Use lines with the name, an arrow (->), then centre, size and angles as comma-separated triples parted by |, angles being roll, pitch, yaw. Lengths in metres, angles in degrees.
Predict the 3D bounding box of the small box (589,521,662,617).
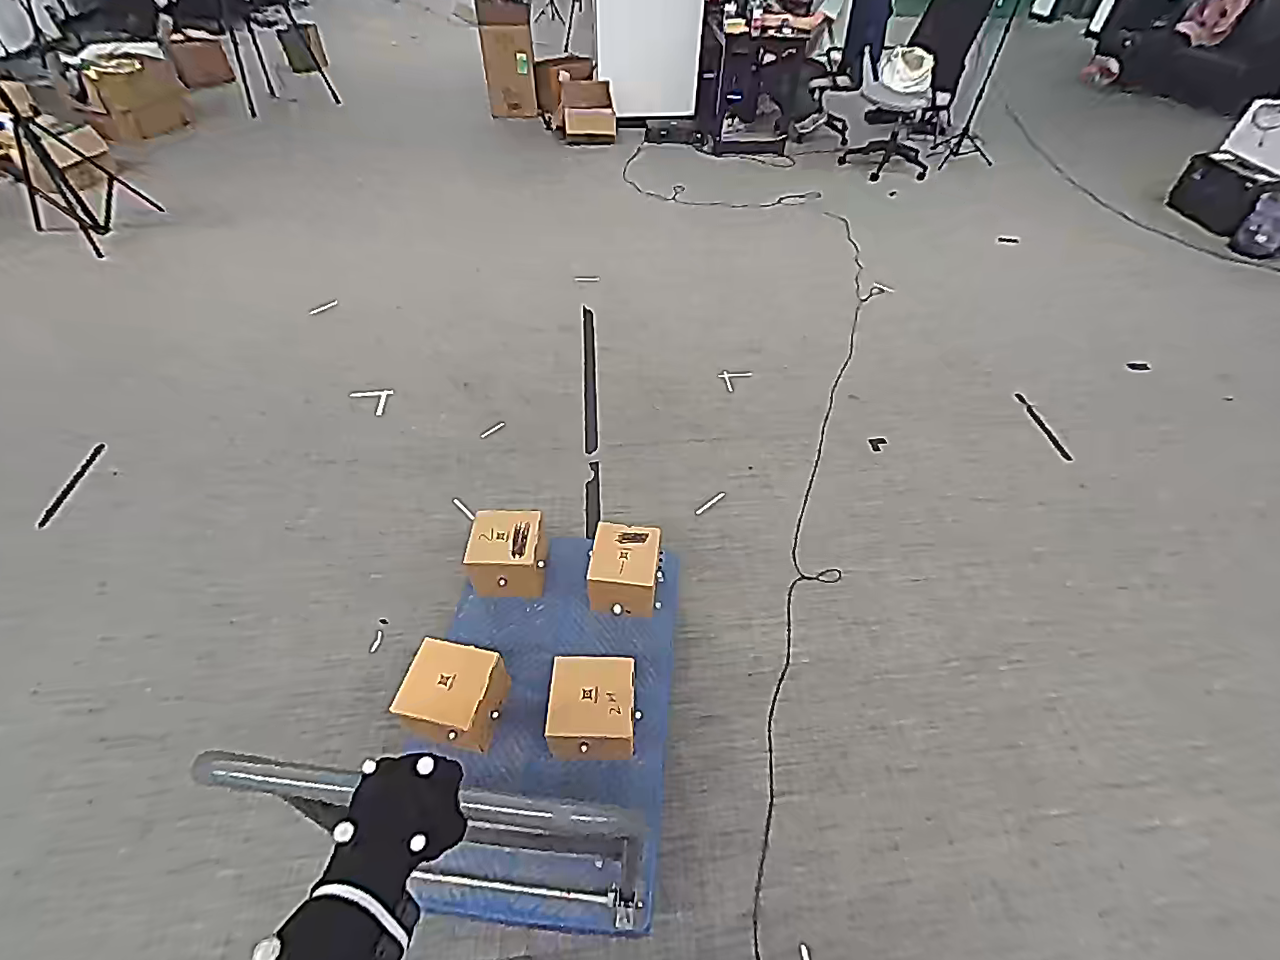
small box -> -0.036, 0.234, 1.413 | 0.168, 0.176, 0.179 | 6, 50, 4

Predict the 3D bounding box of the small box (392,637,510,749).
small box -> -0.406, 0.474, 1.195 | 0.179, 0.176, 0.168 | 10, 49, 6

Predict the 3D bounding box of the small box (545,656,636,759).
small box -> -0.099, 0.498, 1.178 | 0.179, 0.176, 0.168 | 2, 49, 0
